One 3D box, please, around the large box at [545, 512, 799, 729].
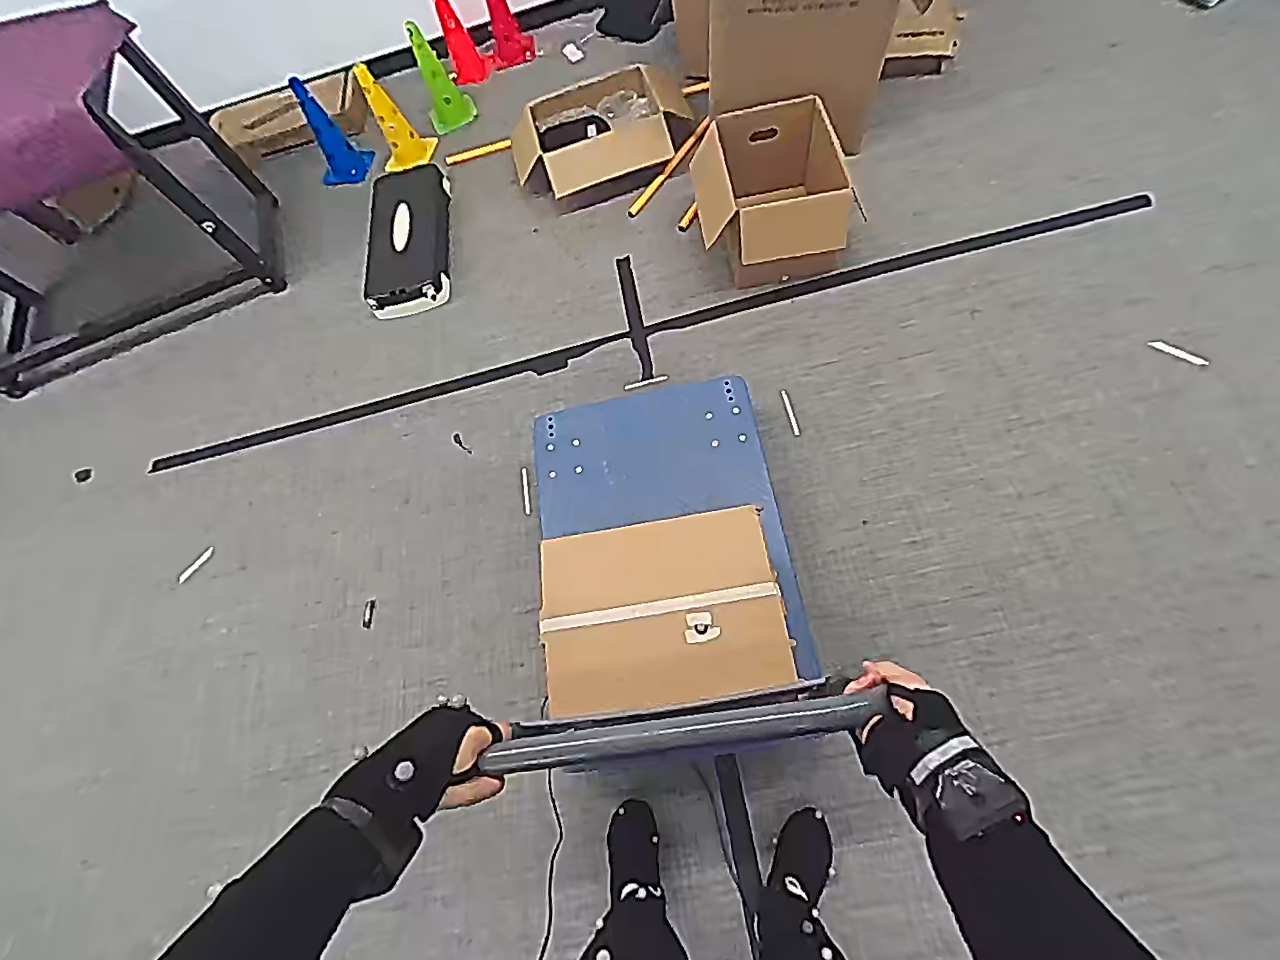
[{"bbox_3d":[0.057,0.291,1.060,0.408,0.320,0.320,-10,65,4],"label":"large box"}]
